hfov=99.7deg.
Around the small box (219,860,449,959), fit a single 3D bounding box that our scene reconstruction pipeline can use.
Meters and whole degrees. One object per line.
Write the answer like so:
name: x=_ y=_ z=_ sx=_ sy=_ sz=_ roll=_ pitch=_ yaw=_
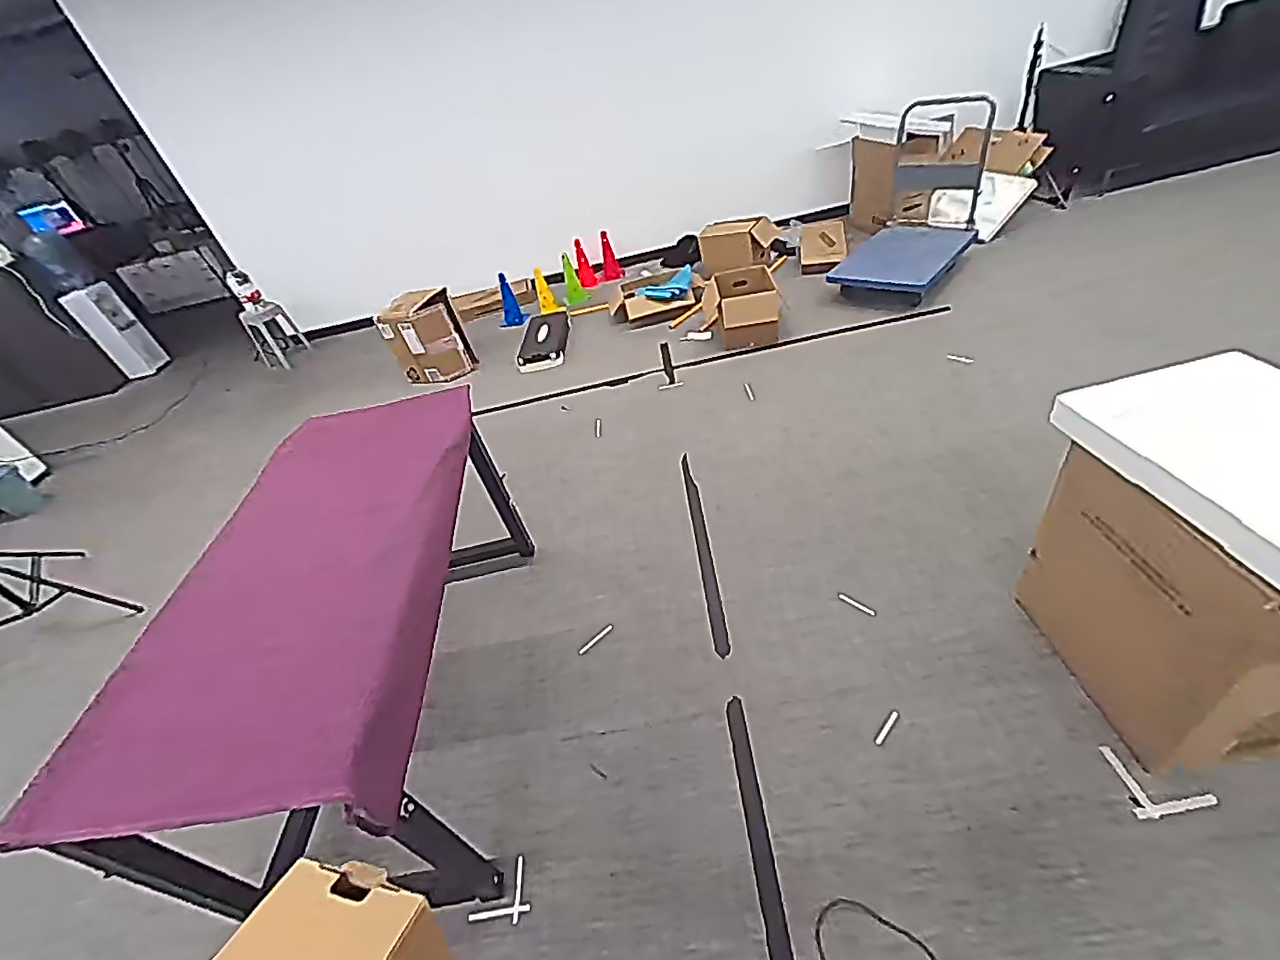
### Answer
small box: x=-0.285 y=0.500 z=0.486 sx=0.168 sy=0.176 sz=0.179 roll=-1 pitch=22 yaw=20
